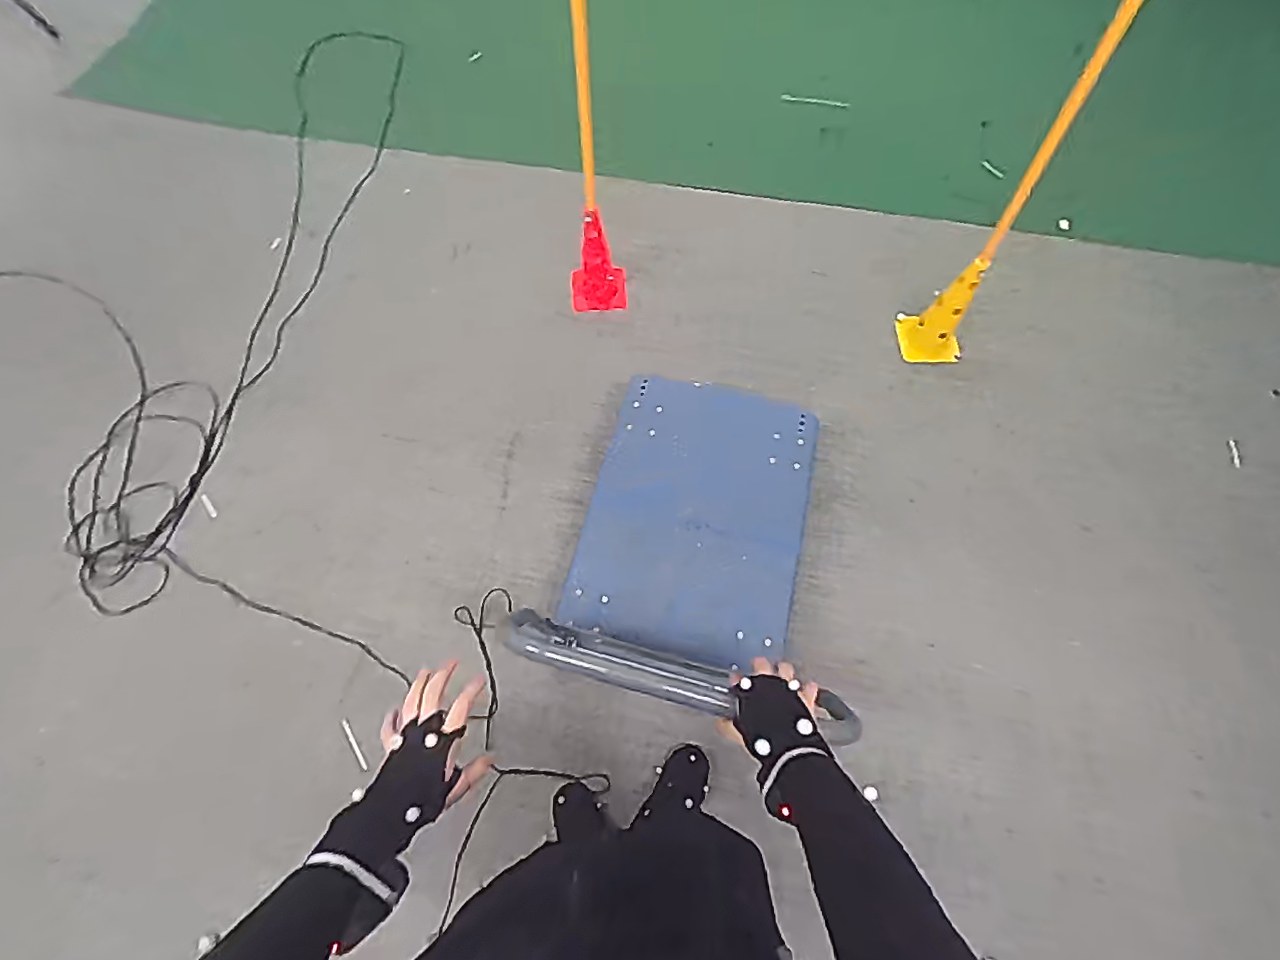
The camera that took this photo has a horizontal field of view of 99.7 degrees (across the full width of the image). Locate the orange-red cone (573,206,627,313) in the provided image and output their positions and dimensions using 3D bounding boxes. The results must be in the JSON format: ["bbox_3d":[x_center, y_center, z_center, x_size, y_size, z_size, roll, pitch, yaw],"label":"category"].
[{"bbox_3d":[-0.153,-0.768,1.842,0.199,0.360,0.198,-4,66,0],"label":"orange-red cone"}]
